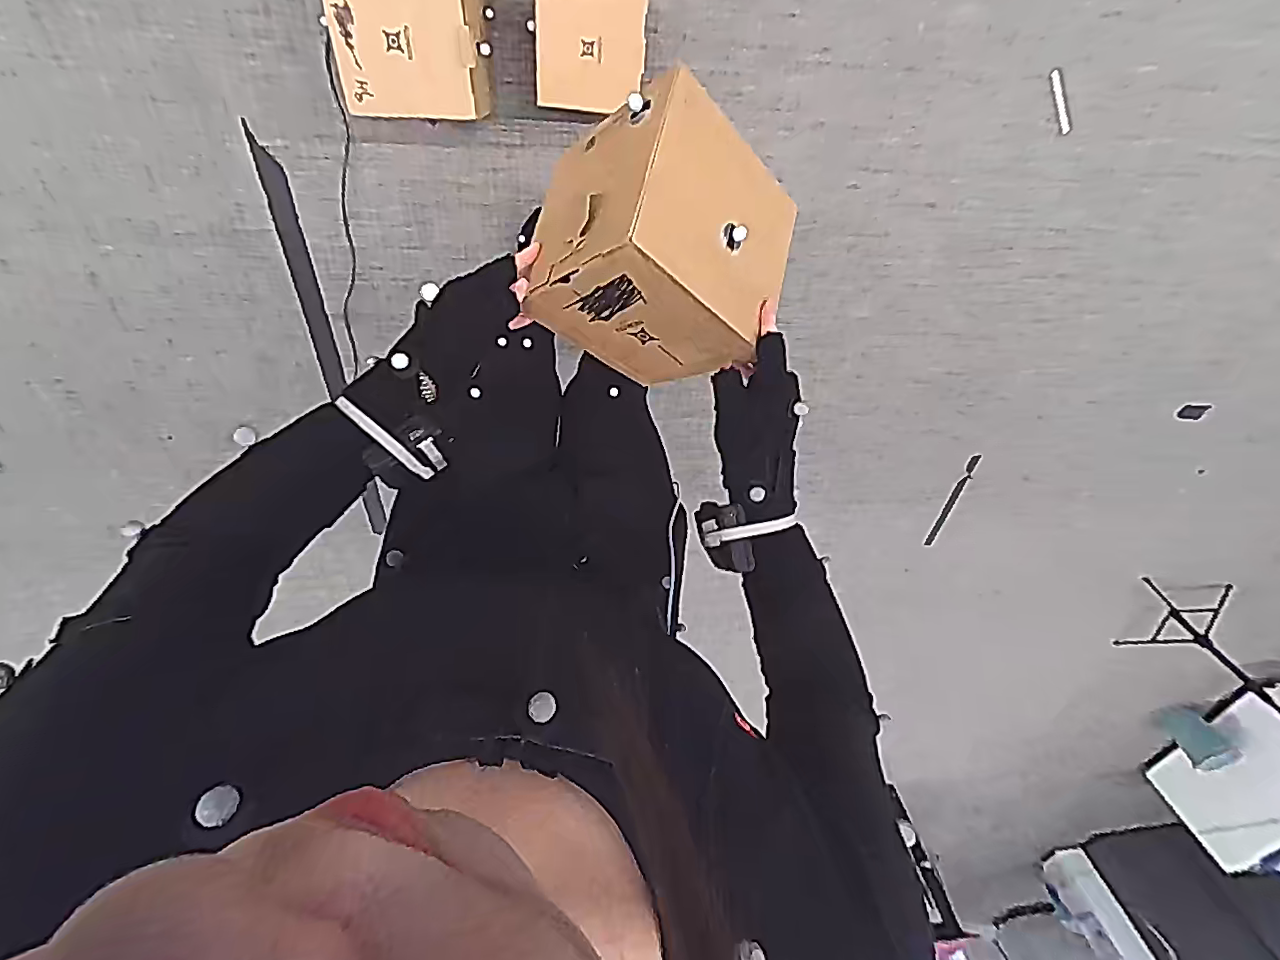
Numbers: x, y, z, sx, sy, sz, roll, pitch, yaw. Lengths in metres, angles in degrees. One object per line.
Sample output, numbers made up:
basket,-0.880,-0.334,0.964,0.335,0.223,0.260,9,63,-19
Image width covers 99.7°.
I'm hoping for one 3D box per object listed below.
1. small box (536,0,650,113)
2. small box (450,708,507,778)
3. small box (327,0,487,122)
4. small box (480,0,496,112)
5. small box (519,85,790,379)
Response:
small box,-0.086,-0.738,0.925,0.179,0.176,0.168,-1,128,-10
small box,-0.567,0.923,1.912,0.168,0.176,0.179,-3,129,-7
small box,-0.317,-0.621,0.769,0.179,0.176,0.168,-2,128,-7
small box,-0.335,-0.725,0.894,0.168,0.176,0.179,-1,129,-7
small box,0.019,-0.220,0.508,0.179,0.176,0.168,24,162,-39
